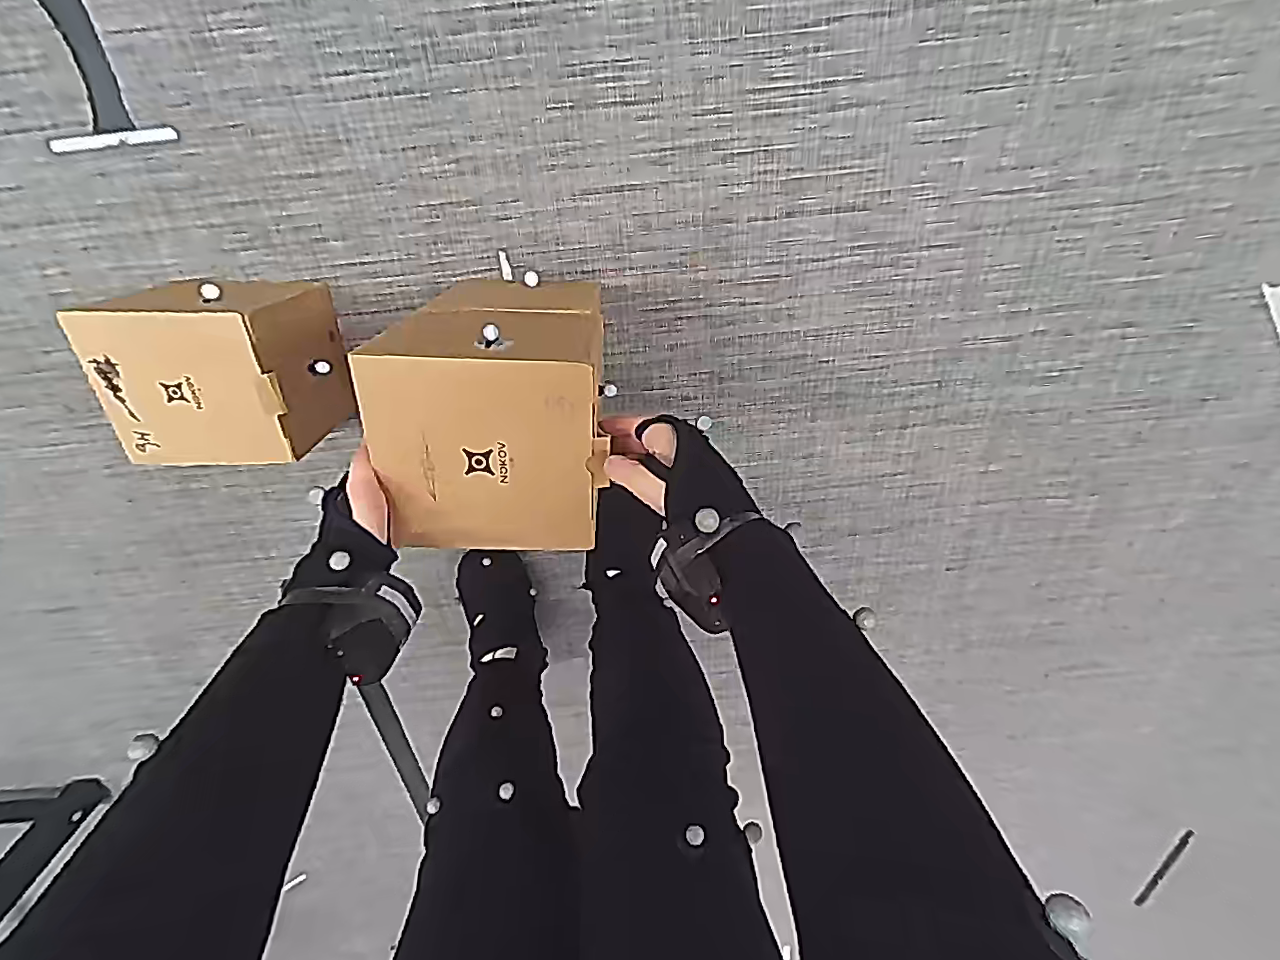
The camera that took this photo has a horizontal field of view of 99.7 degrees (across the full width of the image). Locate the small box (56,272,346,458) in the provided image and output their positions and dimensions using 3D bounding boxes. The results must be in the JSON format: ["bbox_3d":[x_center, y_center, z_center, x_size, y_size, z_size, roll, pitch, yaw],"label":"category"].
[{"bbox_3d":[-0.460,-0.136,0.611,0.179,0.176,0.168,0,120,-3],"label":"small box"}]

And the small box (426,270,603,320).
[{"bbox_3d":[-0.128,-0.135,0.626,0.168,0.176,0.179,1,119,-3],"label":"small box"}]

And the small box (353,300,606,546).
[{"bbox_3d":[-0.120,-0.058,0.483,0.179,0.176,0.168,3,119,-3],"label":"small box"}]
